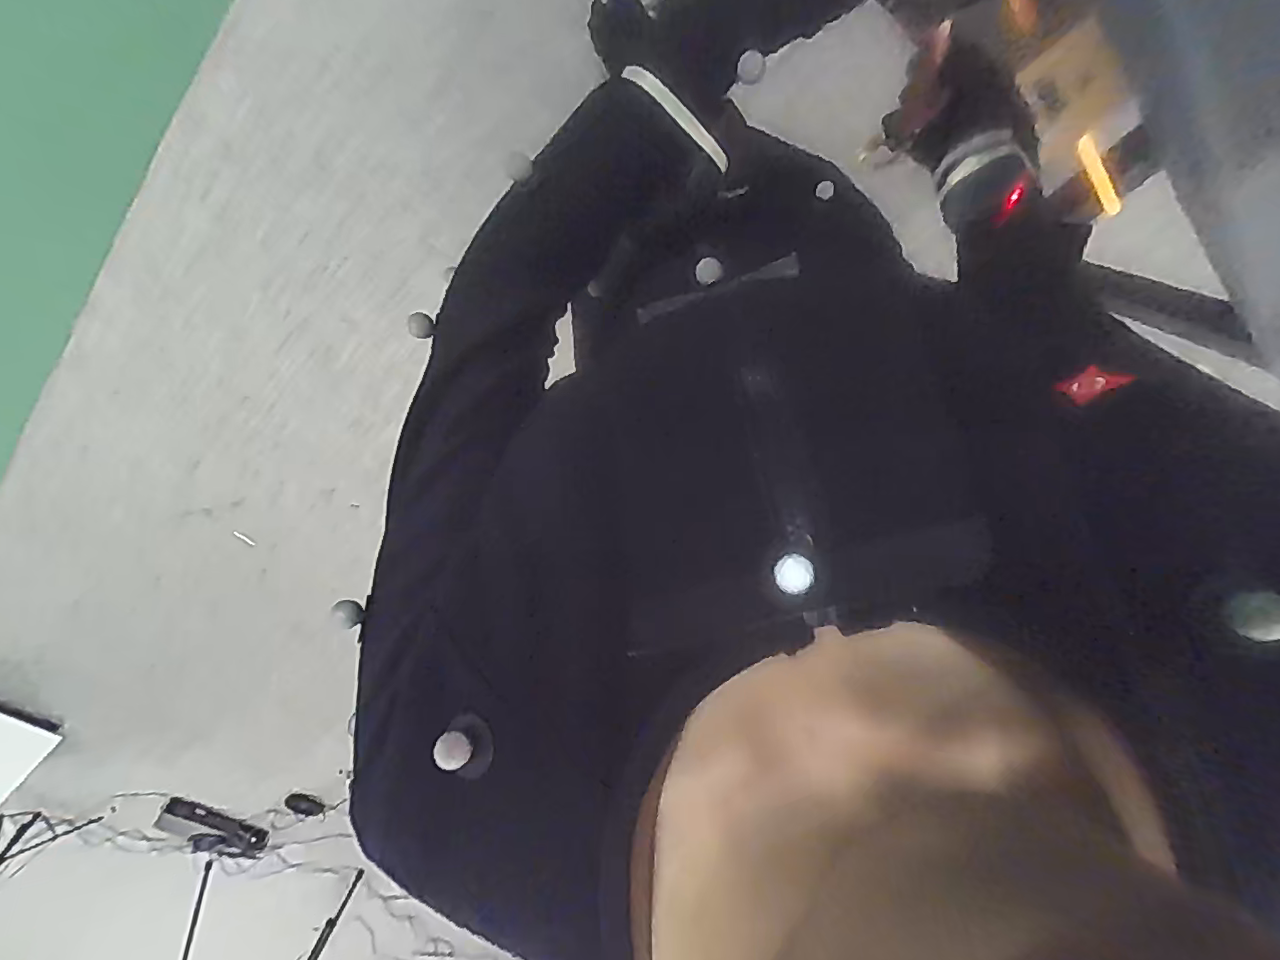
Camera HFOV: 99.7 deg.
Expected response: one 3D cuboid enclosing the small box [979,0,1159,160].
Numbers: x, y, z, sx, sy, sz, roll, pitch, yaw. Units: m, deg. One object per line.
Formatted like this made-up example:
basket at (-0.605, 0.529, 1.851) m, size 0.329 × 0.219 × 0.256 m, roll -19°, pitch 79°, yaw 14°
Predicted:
small box at (0.737, -0.700, 0.952) m, size 0.179 × 0.176 × 0.168 m, roll -36°, pitch 116°, yaw 21°
